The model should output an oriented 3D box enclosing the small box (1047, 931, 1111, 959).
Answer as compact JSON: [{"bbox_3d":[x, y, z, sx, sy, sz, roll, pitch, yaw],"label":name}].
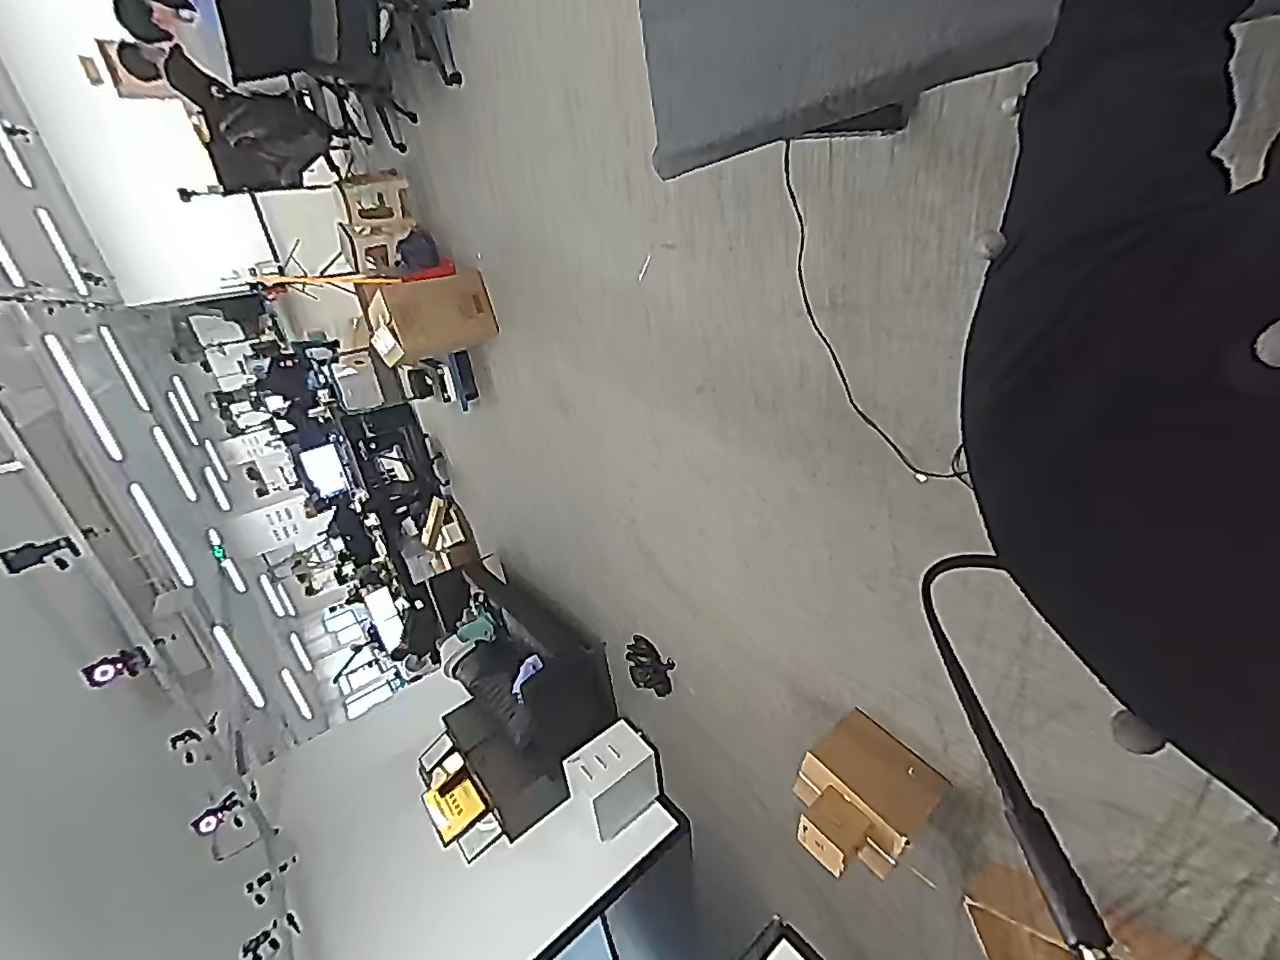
[{"bbox_3d":[1.356,1.542,1.642,0.168,0.176,0.179,-3,110,56],"label":"small box"}]

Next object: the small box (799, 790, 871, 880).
[{"bbox_3d":[0.697,1.259,1.929,0.179,0.176,0.168,29,132,44],"label":"small box"}]
